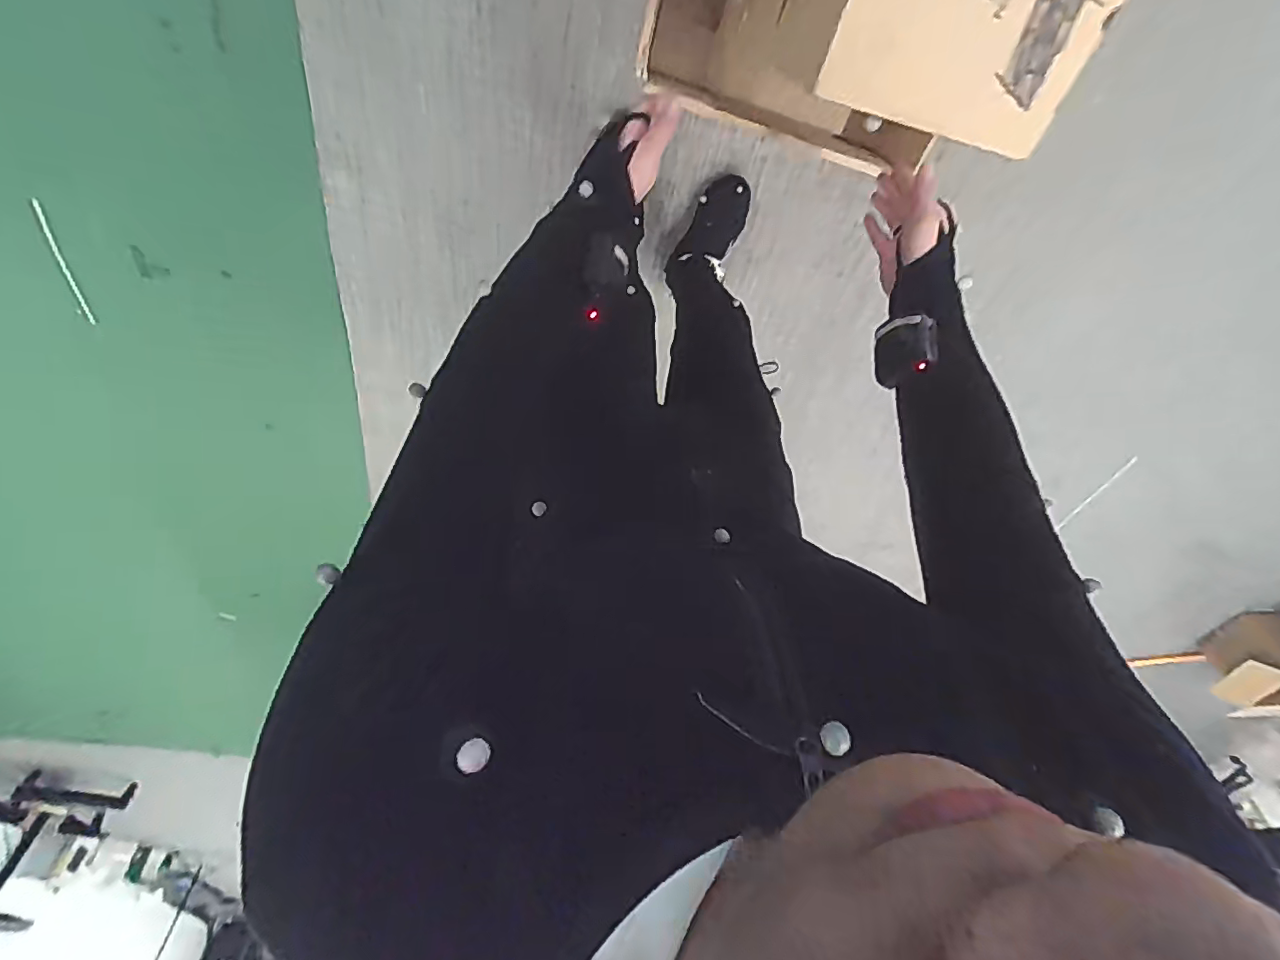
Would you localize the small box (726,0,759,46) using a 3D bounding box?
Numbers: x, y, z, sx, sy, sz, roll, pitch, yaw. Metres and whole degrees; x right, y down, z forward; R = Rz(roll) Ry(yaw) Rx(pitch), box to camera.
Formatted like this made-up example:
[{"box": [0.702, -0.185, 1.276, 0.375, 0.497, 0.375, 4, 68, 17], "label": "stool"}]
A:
[{"box": [0.214, -0.582, 0.626, 0.179, 0.176, 0.168, 12, 132, -13], "label": "small box"}]

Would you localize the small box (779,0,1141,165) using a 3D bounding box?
[{"box": [0.223, -0.357, 0.386, 0.179, 0.176, 0.168, 10, 133, -10], "label": "small box"}]
